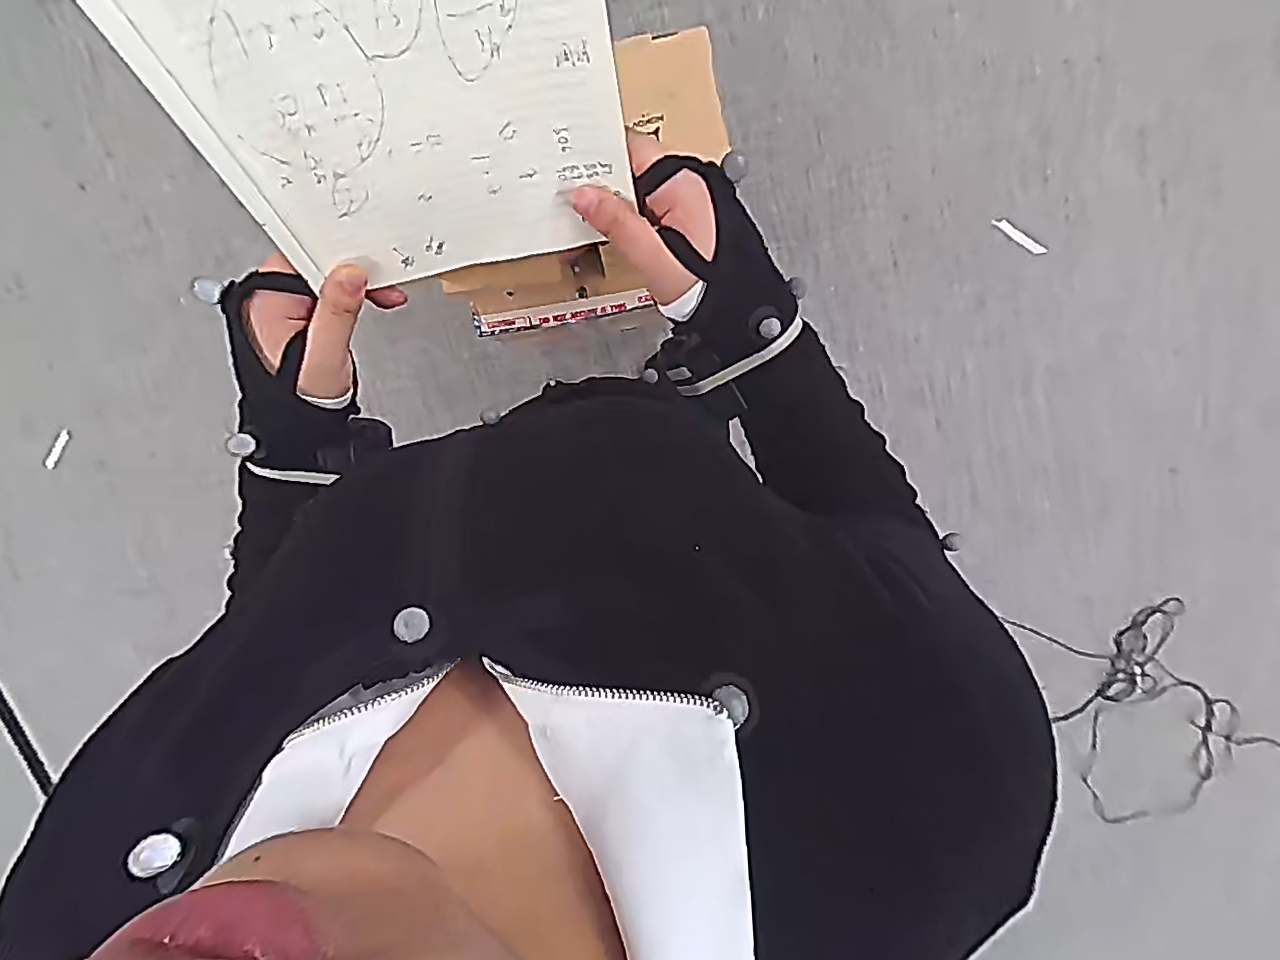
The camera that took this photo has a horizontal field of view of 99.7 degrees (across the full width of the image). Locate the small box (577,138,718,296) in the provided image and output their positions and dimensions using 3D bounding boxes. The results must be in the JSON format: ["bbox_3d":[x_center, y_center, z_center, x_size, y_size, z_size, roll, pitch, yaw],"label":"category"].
[{"bbox_3d":[0.008,-0.400,0.853,0.179,0.176,0.168,-15,102,1],"label":"small box"}]

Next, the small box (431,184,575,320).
[{"bbox_3d":[-0.203,-0.351,0.860,0.179,0.176,0.168,-6,103,2],"label":"small box"}]
